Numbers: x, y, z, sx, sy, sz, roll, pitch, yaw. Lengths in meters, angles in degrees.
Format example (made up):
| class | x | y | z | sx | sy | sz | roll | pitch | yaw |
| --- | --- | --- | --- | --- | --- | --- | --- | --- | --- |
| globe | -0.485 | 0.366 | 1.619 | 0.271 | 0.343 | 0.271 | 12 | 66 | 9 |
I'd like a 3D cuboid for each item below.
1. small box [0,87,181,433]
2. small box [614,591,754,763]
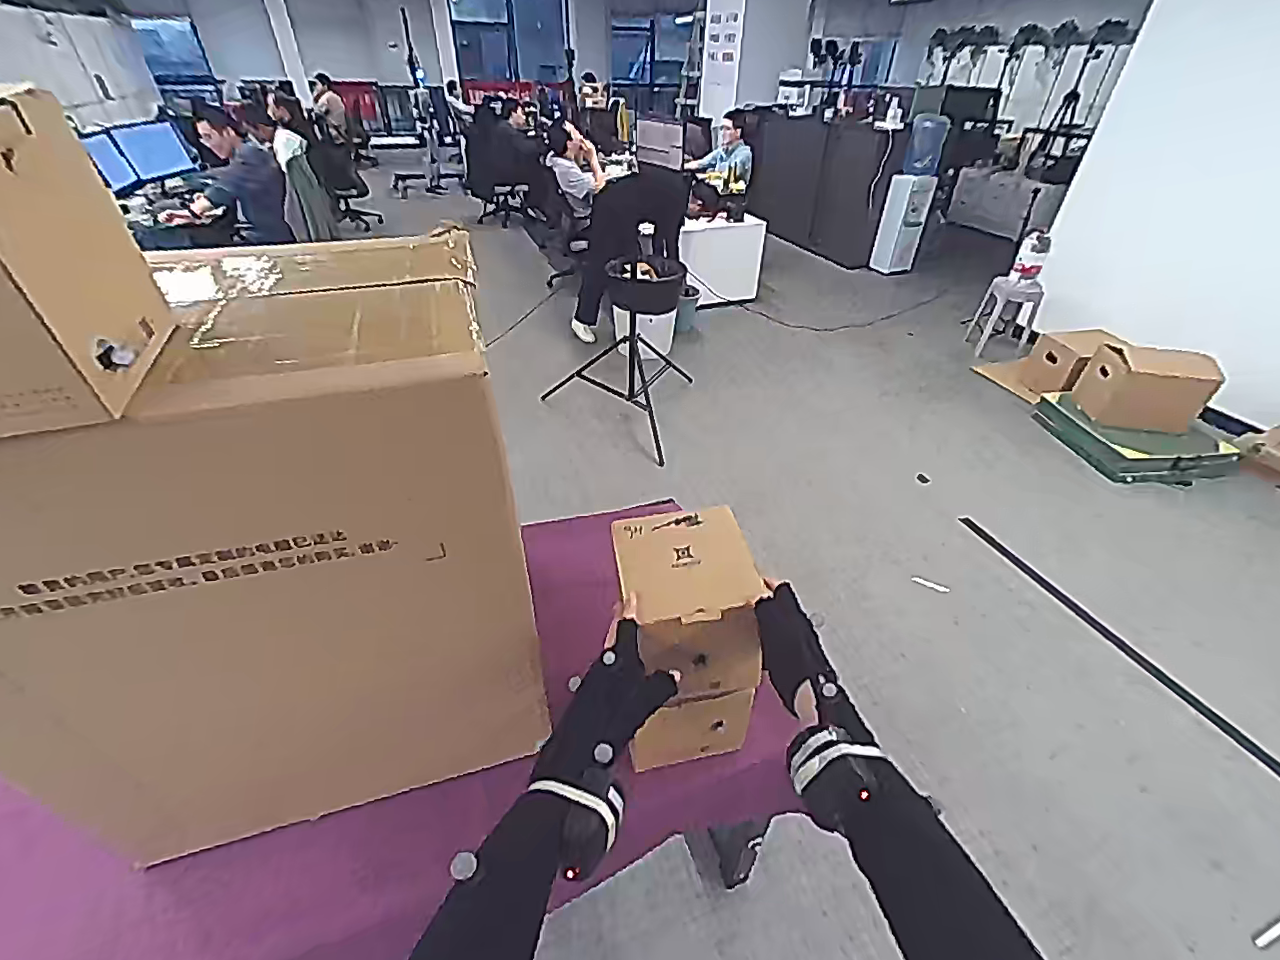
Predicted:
| class | x | y | z | sx | sy | sz | roll | pitch | yaw |
| --- | --- | --- | --- | --- | --- | --- | --- | --- | --- |
| small box | -0.443 | -0.134 | 0.339 | 0.179 | 0.176 | 0.168 | -13 | 42 | -16 |
| small box | 0.057 | 0.299 | 0.814 | 0.168 | 0.176 | 0.179 | -7 | 37 | -11 |
